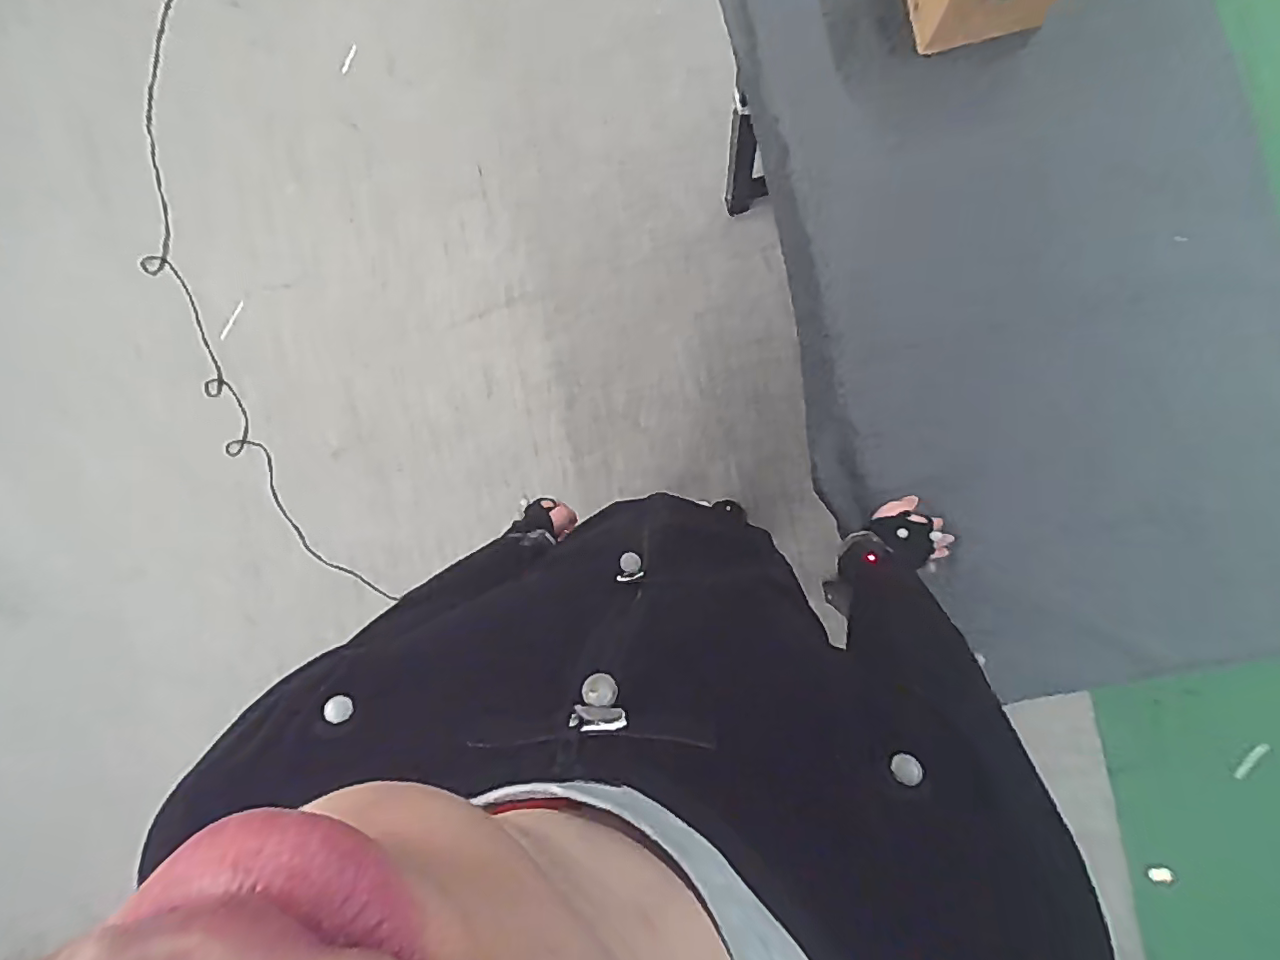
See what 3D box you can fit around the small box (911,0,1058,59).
[{"bbox_3d":[0.475,-0.713,0.719,0.179,0.176,0.168,-11,89,6],"label":"small box"}]
